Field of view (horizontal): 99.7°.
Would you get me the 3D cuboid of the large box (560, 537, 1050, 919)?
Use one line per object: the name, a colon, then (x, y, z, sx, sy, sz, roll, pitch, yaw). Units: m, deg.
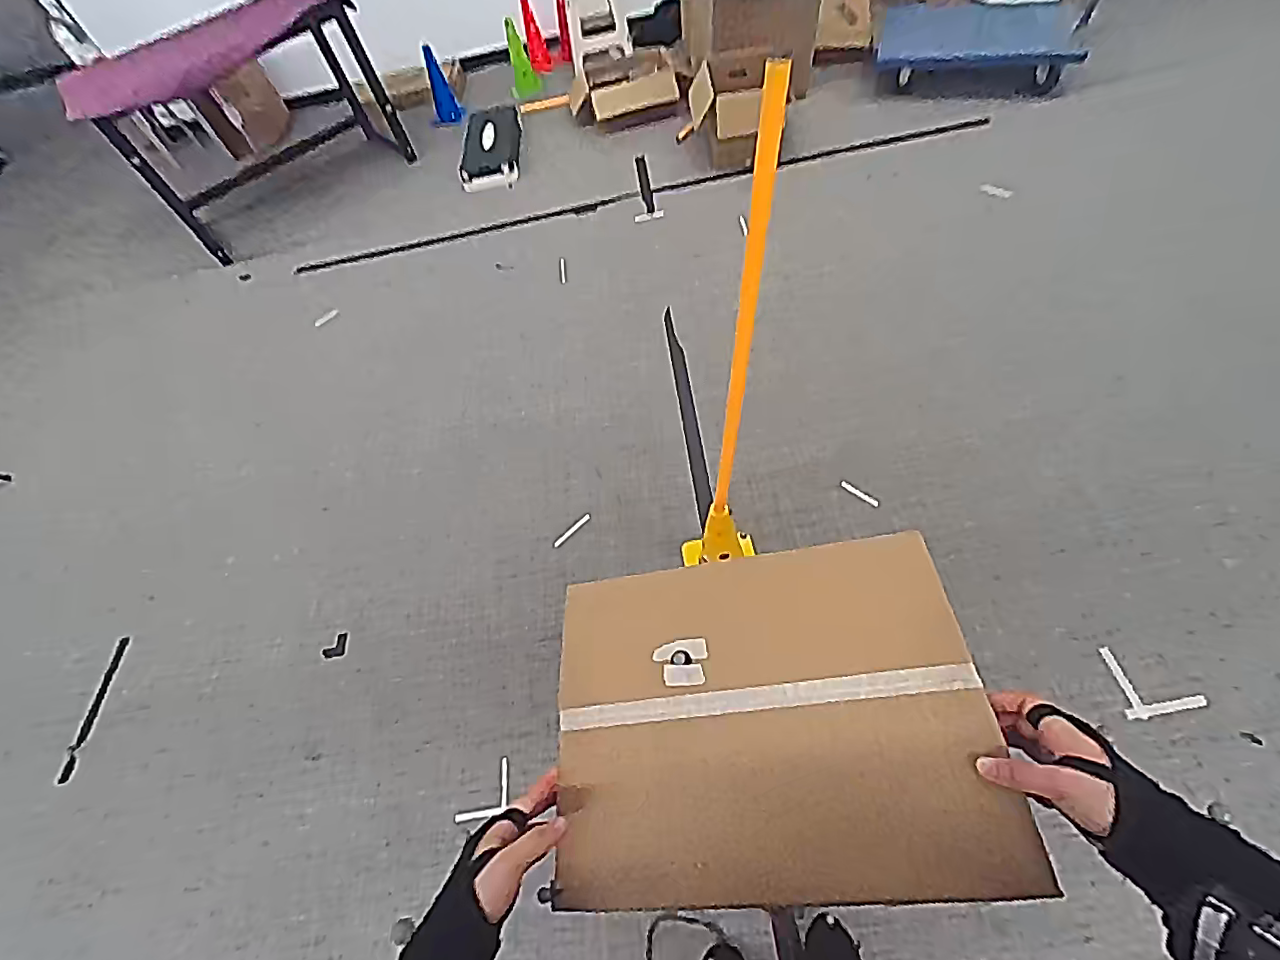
large box: (0.154, 0.304, 0.644, 0.408, 0.320, 0.320, -12, 52, 12)
